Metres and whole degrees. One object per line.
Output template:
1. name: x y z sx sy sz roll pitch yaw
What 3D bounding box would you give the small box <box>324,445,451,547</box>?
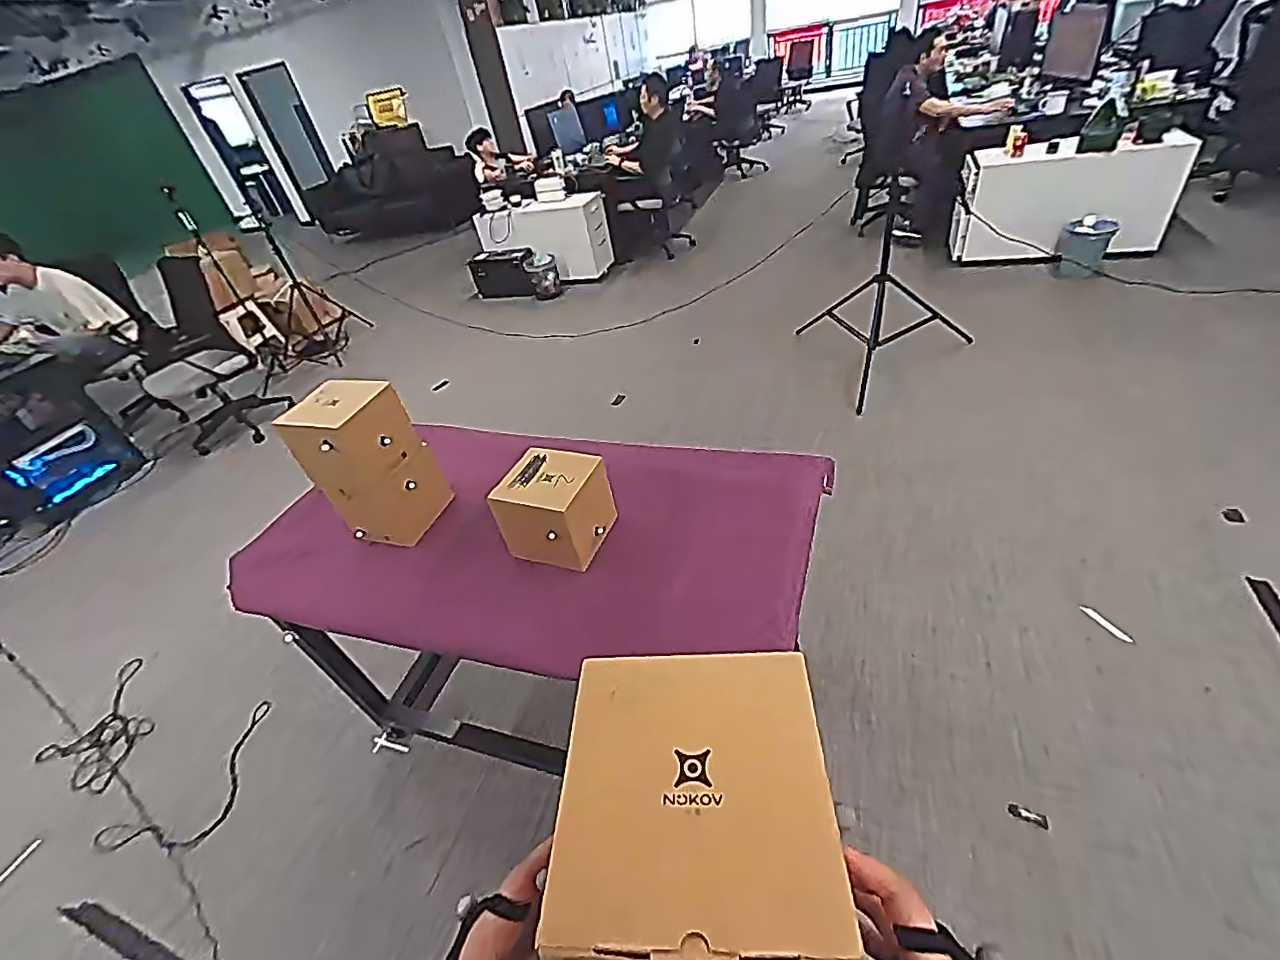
1. small box: -0.567 0.032 1.244 0.168 0.176 0.179 5 42 20

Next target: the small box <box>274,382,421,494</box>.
1. small box: -0.600 -0.087 1.135 0.179 0.176 0.168 5 42 20

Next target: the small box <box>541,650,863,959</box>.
1. small box: 0.043 0.245 0.383 0.168 0.176 0.179 -5 37 7
